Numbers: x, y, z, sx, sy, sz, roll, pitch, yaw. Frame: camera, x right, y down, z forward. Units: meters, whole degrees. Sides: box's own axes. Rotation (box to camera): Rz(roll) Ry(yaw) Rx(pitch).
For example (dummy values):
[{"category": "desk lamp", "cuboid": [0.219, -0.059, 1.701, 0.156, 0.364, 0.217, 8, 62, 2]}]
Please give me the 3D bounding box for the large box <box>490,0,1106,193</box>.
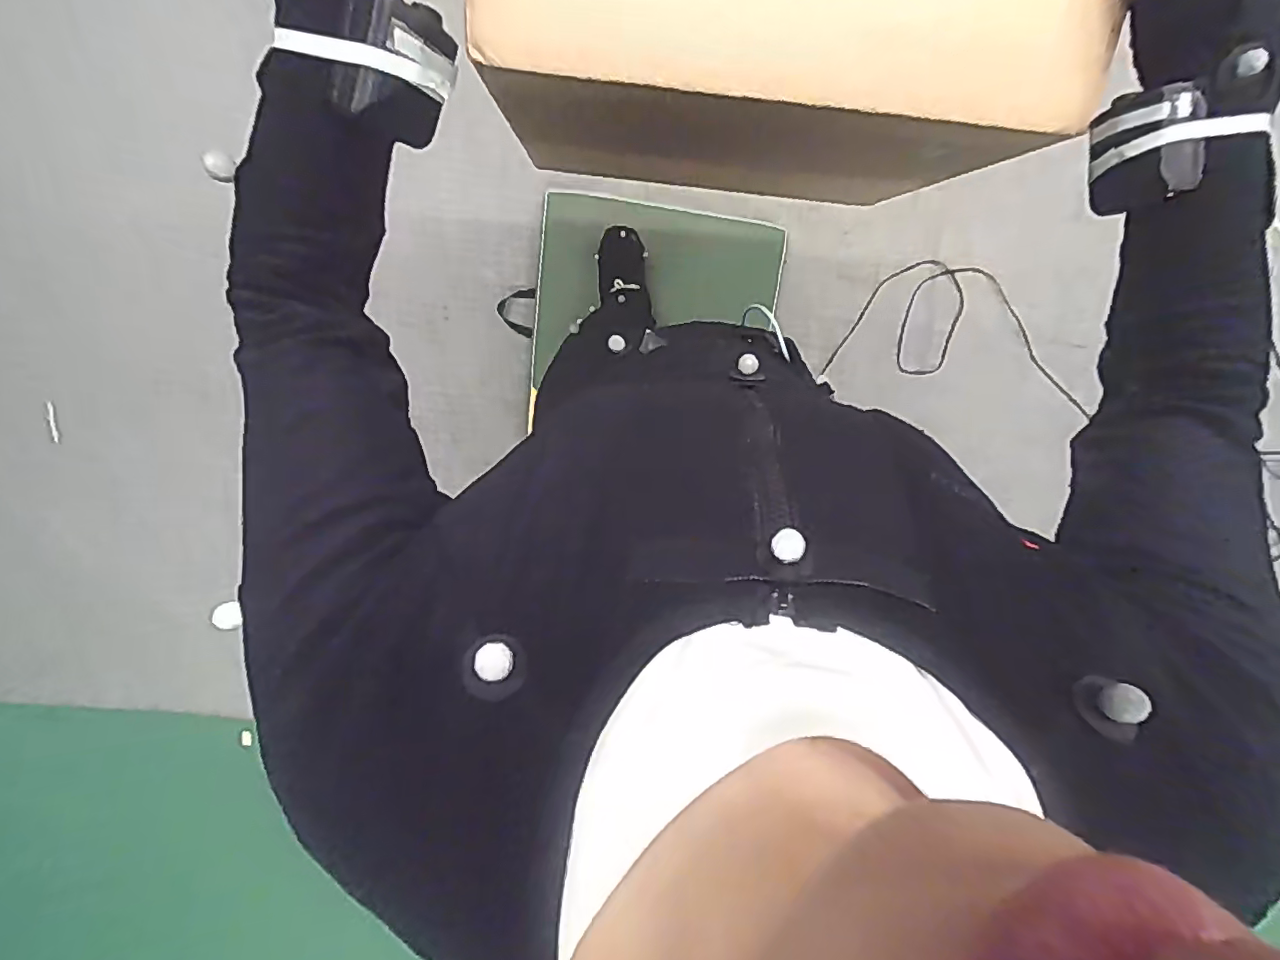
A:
[{"category": "large box", "cuboid": [0.100, -0.448, 0.449, 0.408, 0.320, 0.320, 3, 110, -5]}]
